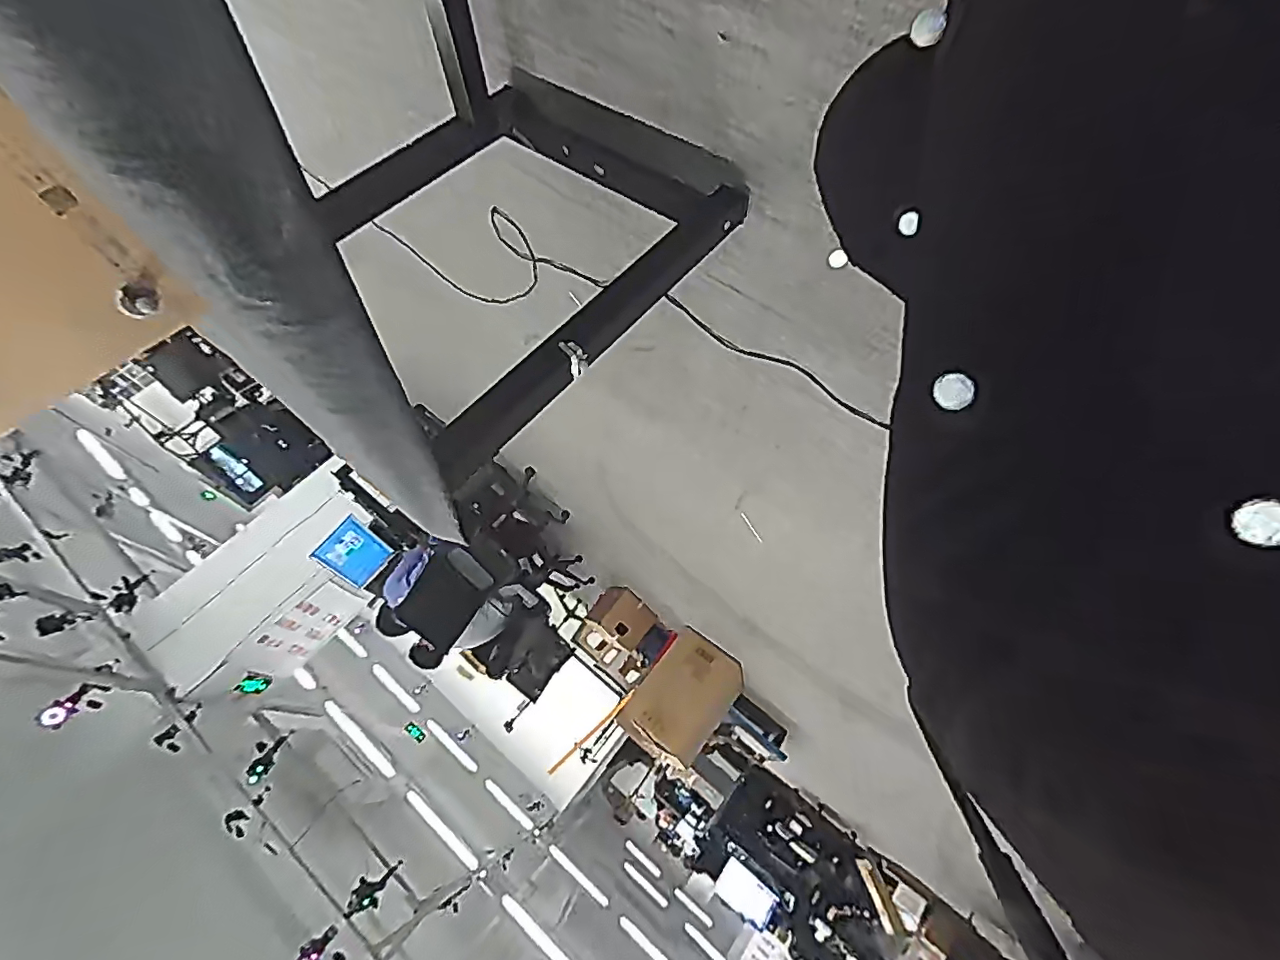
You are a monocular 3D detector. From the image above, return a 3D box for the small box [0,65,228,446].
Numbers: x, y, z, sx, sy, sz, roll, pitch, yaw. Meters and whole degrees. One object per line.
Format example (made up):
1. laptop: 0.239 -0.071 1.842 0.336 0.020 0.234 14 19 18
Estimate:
1. small box: -0.447 -0.164 0.381 0.179 0.176 0.168 37 158 23
